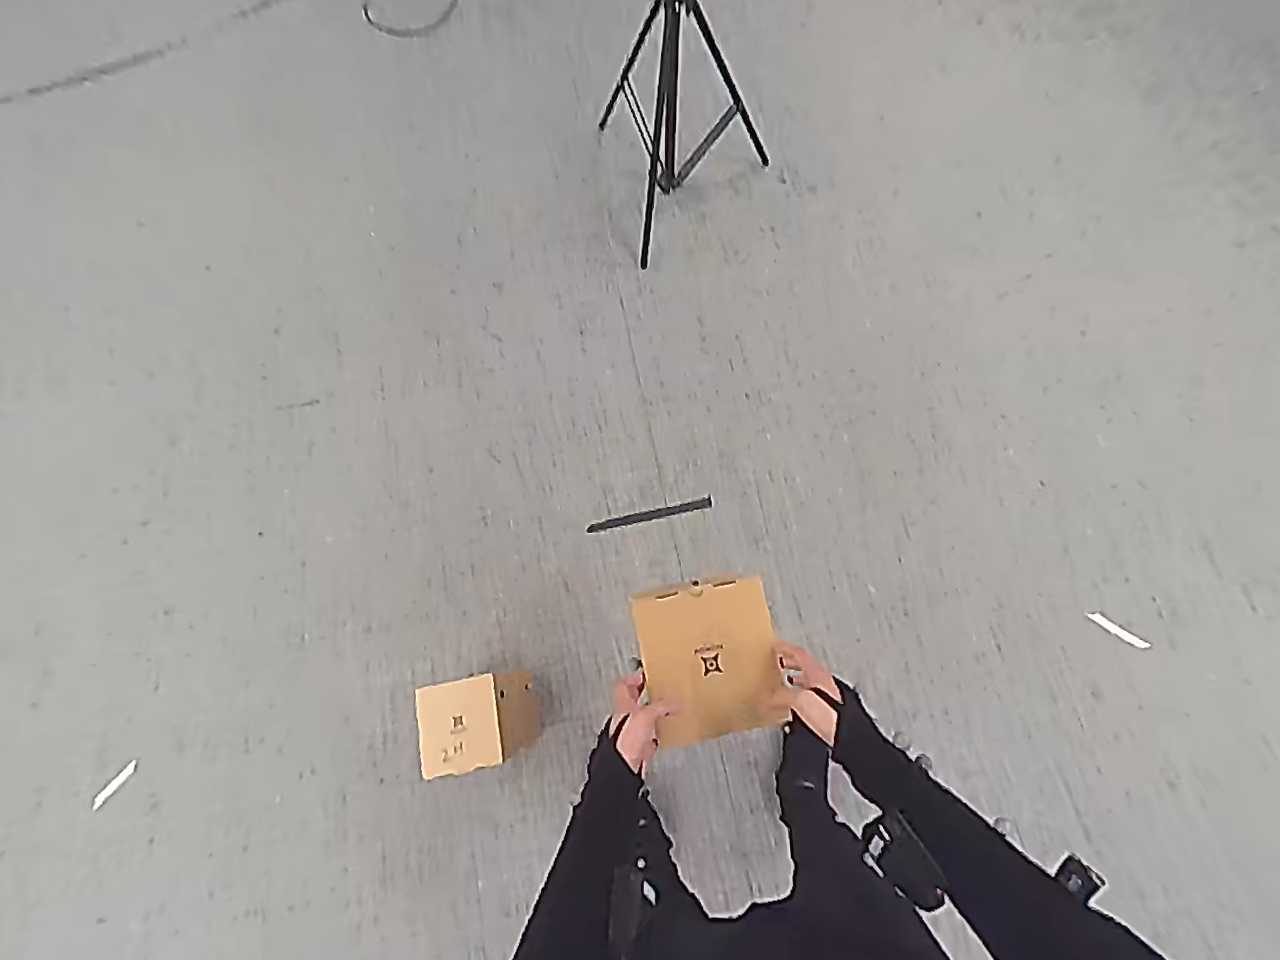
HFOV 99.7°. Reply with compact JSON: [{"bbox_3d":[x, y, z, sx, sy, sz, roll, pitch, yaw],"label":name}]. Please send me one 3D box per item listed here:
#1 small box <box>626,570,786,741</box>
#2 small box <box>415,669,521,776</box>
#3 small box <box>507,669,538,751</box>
[{"bbox_3d":[0.077,0.221,0.726,0.168,0.176,0.179,-11,80,-4],"label":"small box"},{"bbox_3d":[-0.364,0.510,1.164,0.168,0.176,0.179,-12,74,0],"label":"small box"},{"bbox_3d":[-0.355,0.565,1.318,0.168,0.176,0.179,-12,73,0],"label":"small box"}]
